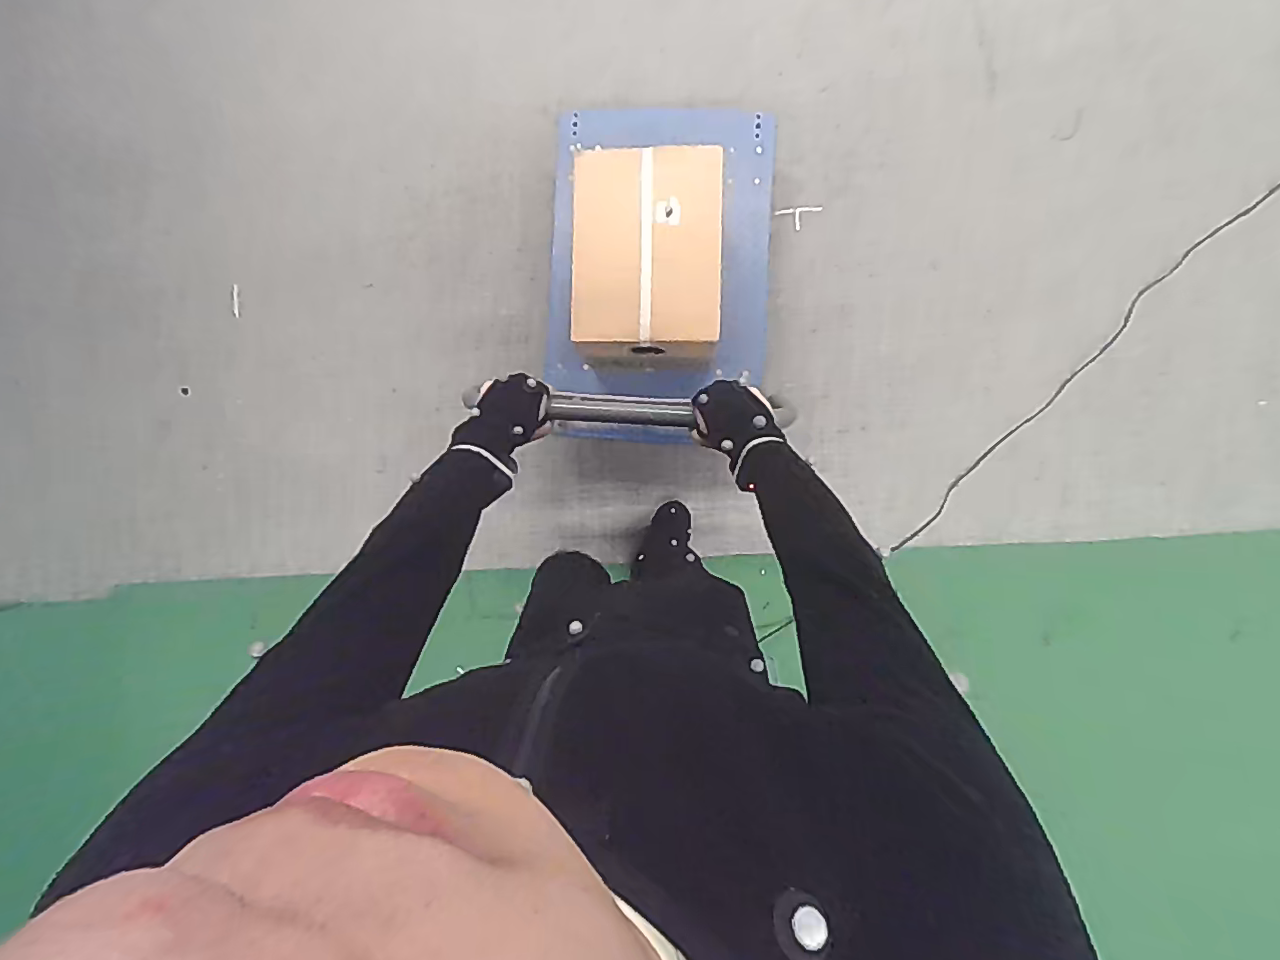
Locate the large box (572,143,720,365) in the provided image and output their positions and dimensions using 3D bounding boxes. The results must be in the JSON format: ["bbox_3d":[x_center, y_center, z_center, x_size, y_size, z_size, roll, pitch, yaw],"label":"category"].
[{"bbox_3d":[0.025,-0.503,1.282,0.320,0.320,0.408,1,91,4],"label":"large box"}]
